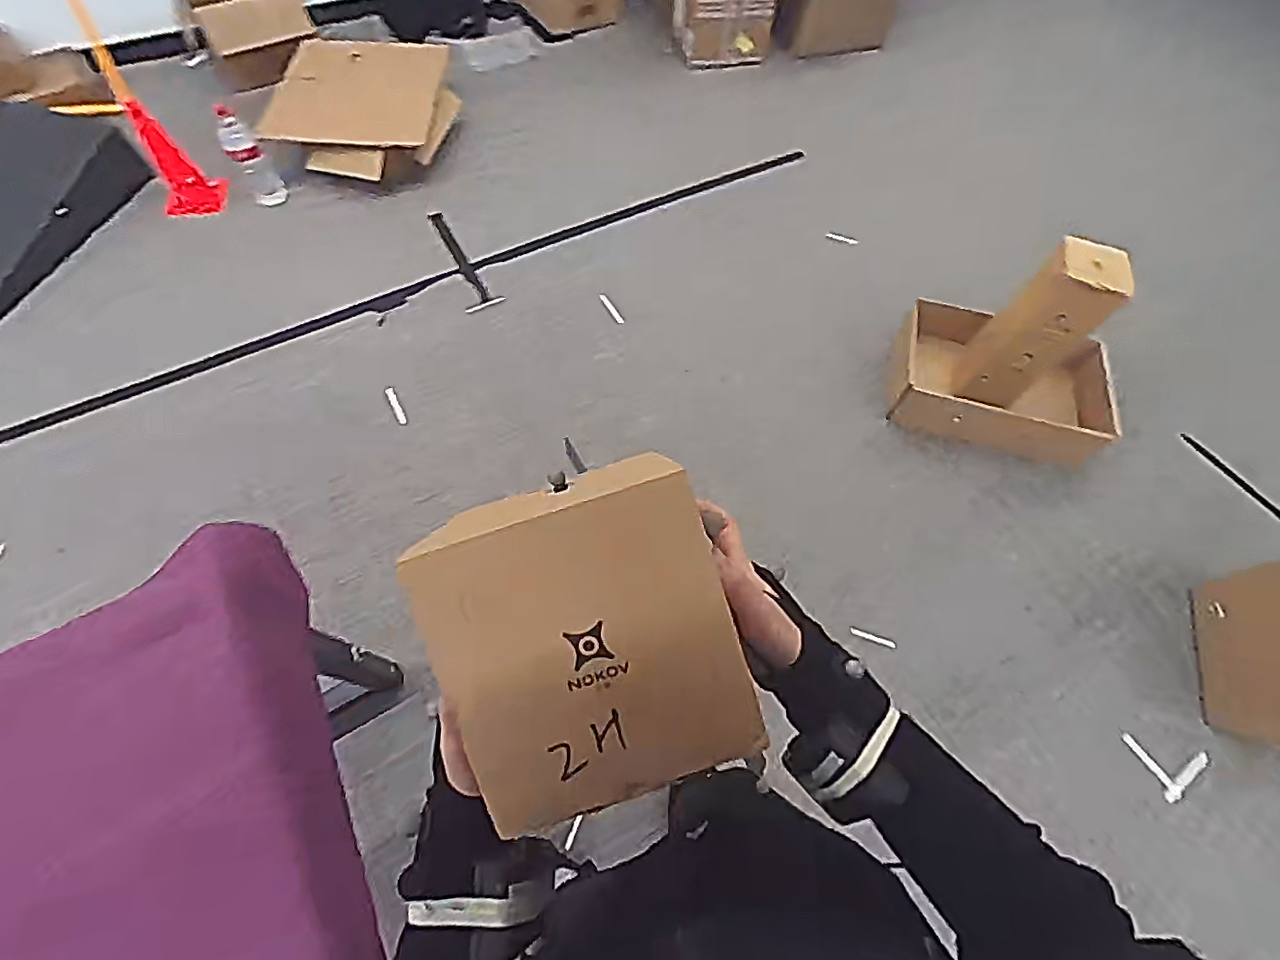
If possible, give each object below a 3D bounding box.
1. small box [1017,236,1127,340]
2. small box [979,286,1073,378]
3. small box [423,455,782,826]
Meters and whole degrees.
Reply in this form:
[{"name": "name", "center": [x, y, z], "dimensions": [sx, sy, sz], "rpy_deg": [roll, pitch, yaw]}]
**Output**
[{"name": "small box", "center": [1.154, -0.513, 1.458], "dimensions": [0.168, 0.176, 0.179], "rpy_deg": [18, 62, 5]}, {"name": "small box", "center": [1.135, -0.432, 1.599], "dimensions": [0.168, 0.176, 0.179], "rpy_deg": [19, 63, 5]}, {"name": "small box", "center": [-0.024, 0.086, 0.382], "dimensions": [0.168, 0.176, 0.179], "rpy_deg": [-17, 96, -2]}]
